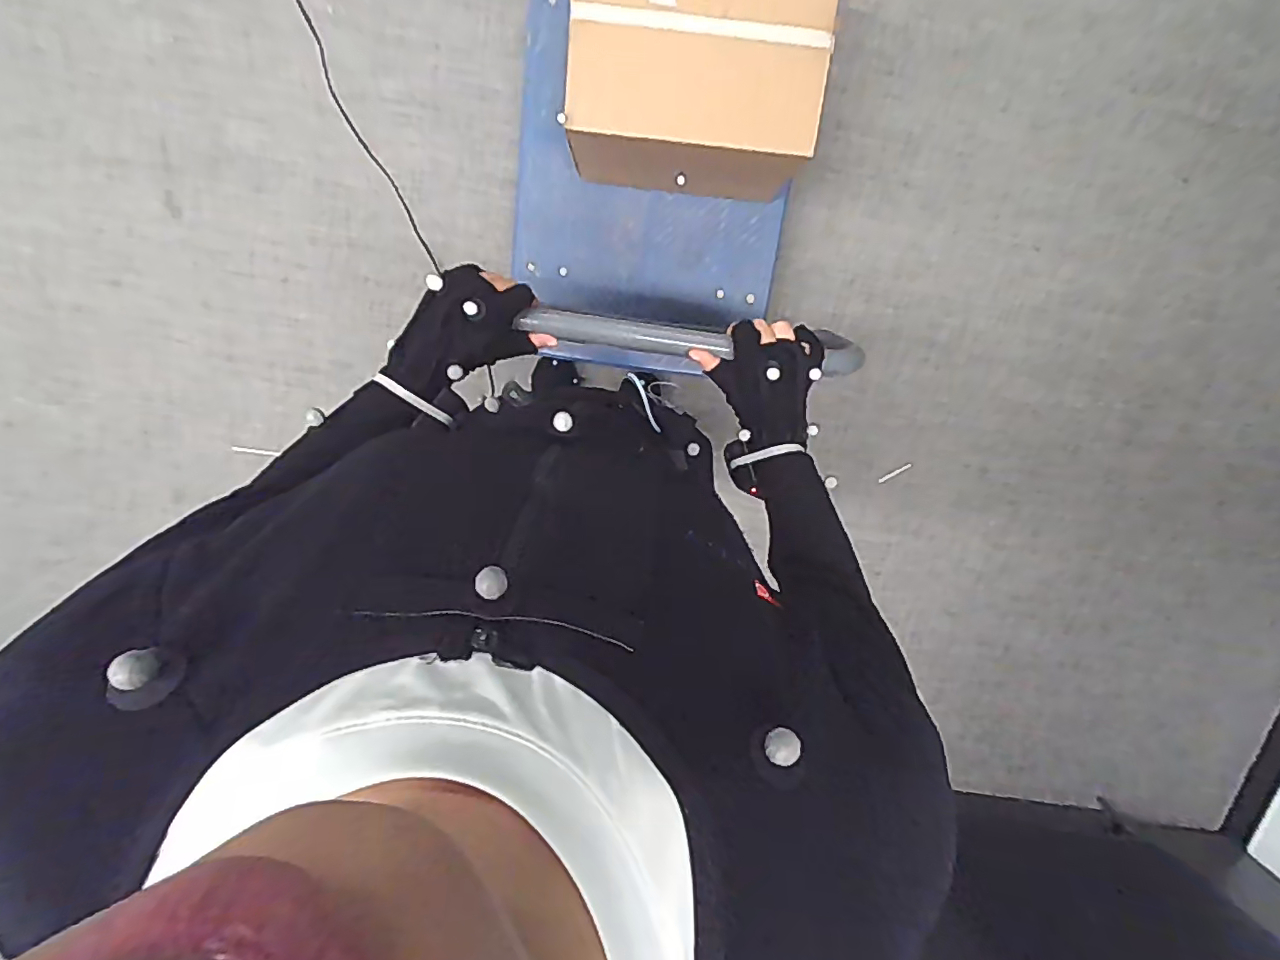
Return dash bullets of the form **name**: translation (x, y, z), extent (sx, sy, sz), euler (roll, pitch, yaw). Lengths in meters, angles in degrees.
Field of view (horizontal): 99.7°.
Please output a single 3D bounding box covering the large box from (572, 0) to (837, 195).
- **large box**: translation (0.100, -0.728, 0.975), extent (0.408, 0.320, 0.320), euler (5, 104, -1)
